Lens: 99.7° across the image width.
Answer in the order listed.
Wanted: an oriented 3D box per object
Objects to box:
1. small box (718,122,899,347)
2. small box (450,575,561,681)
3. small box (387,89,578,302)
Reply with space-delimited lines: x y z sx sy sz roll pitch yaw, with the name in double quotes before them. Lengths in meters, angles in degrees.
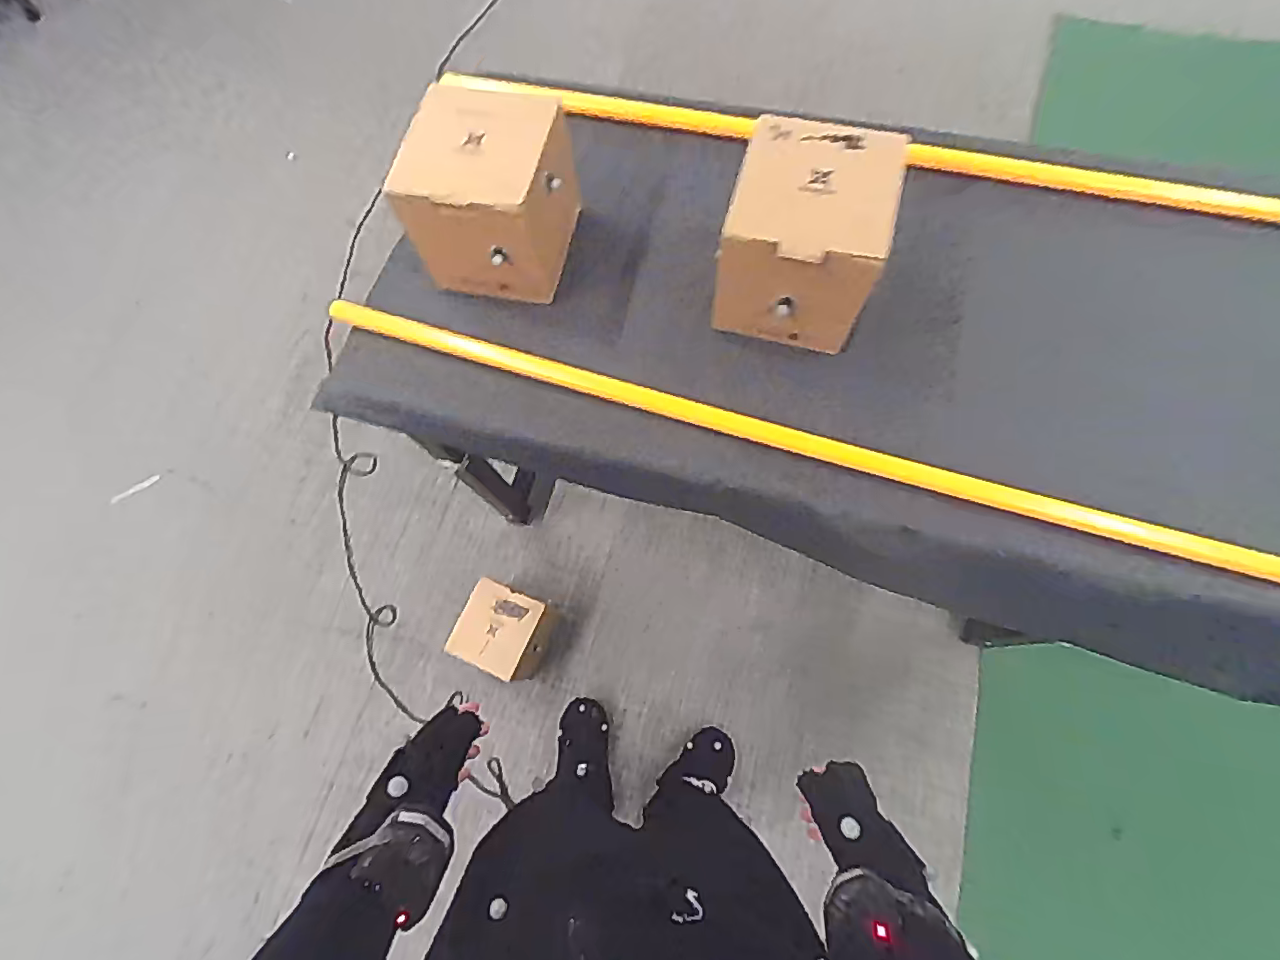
"small box" 0.190 -0.283 0.647 0.168 0.176 0.179 11 71 9
"small box" -0.296 0.339 1.238 0.168 0.176 0.179 22 75 12
"small box" -0.185 -0.357 0.699 0.168 0.176 0.179 10 70 6
